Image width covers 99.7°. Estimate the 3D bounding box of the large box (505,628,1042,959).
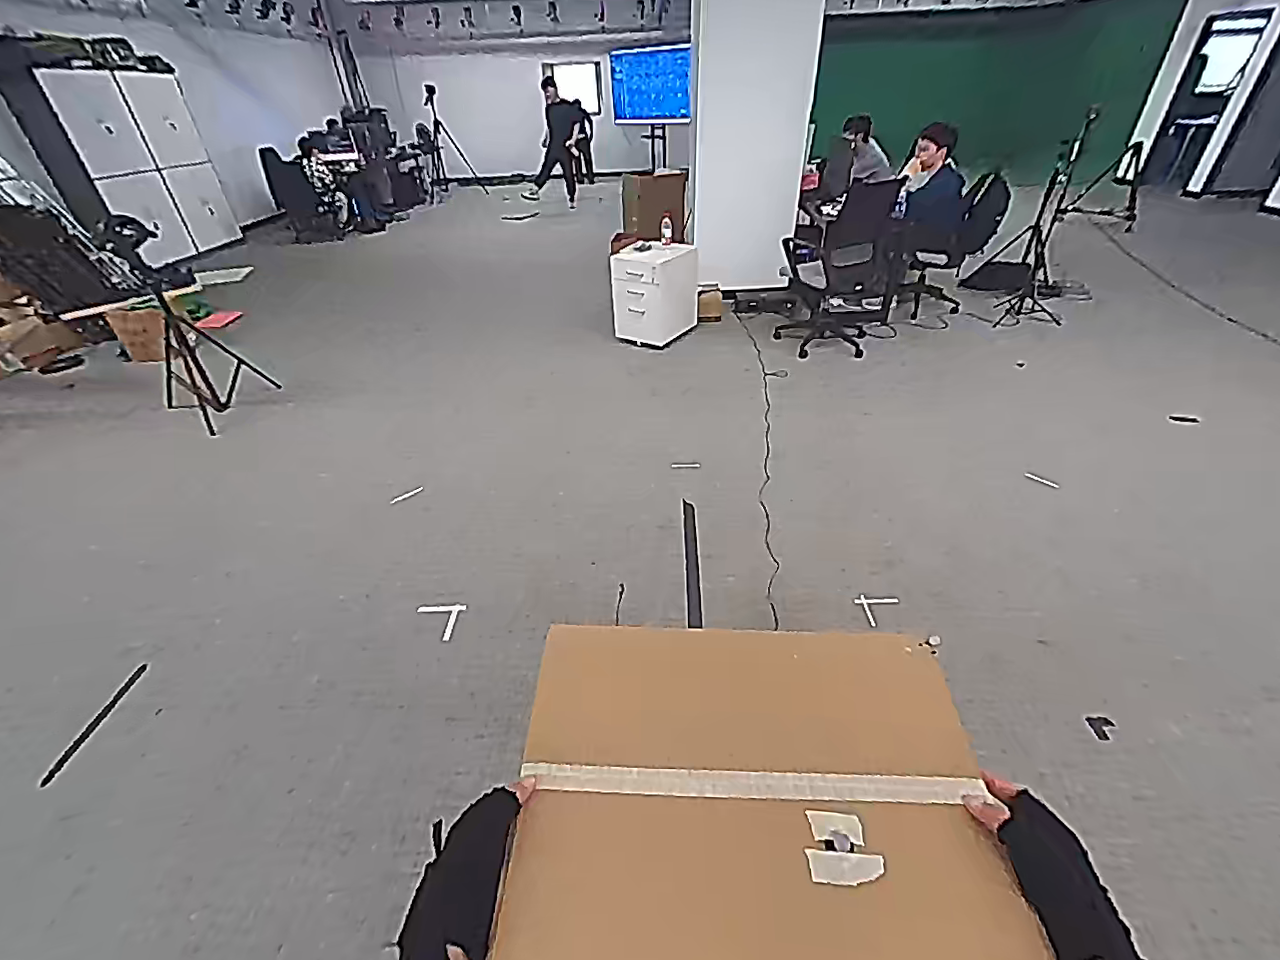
[{"bbox_3d":[0.102,0.383,0.588,0.408,0.320,0.320,1,42,3],"label":"large box"}]
